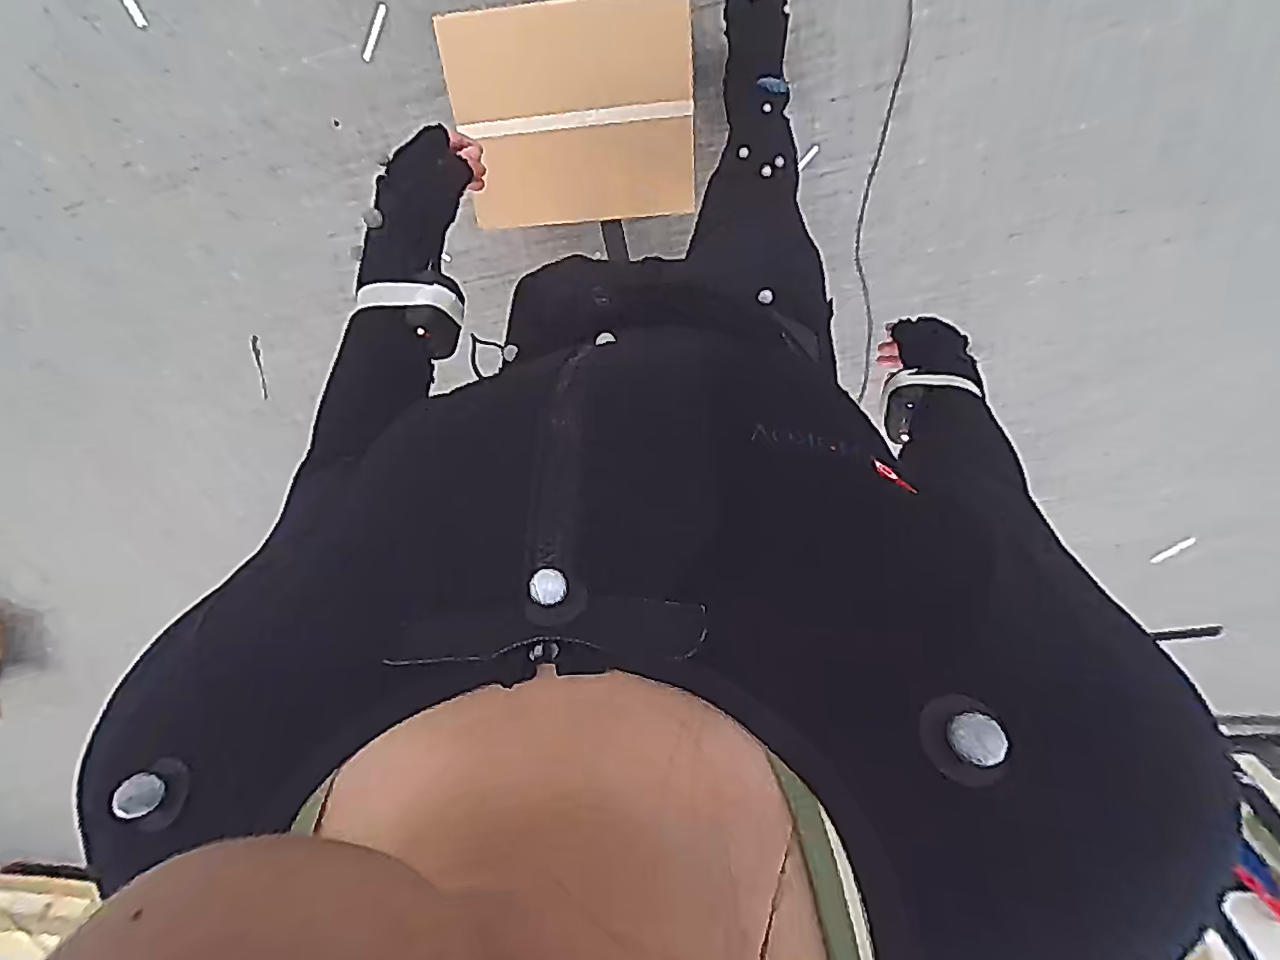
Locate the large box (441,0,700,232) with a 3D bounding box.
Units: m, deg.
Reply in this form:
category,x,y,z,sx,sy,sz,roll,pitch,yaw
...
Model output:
category,x,y,z,sx,sy,sz,roll,pitch,yaw
large box,-0.097,-0.684,1.034,0.408,0.320,0.320,-2,124,5
